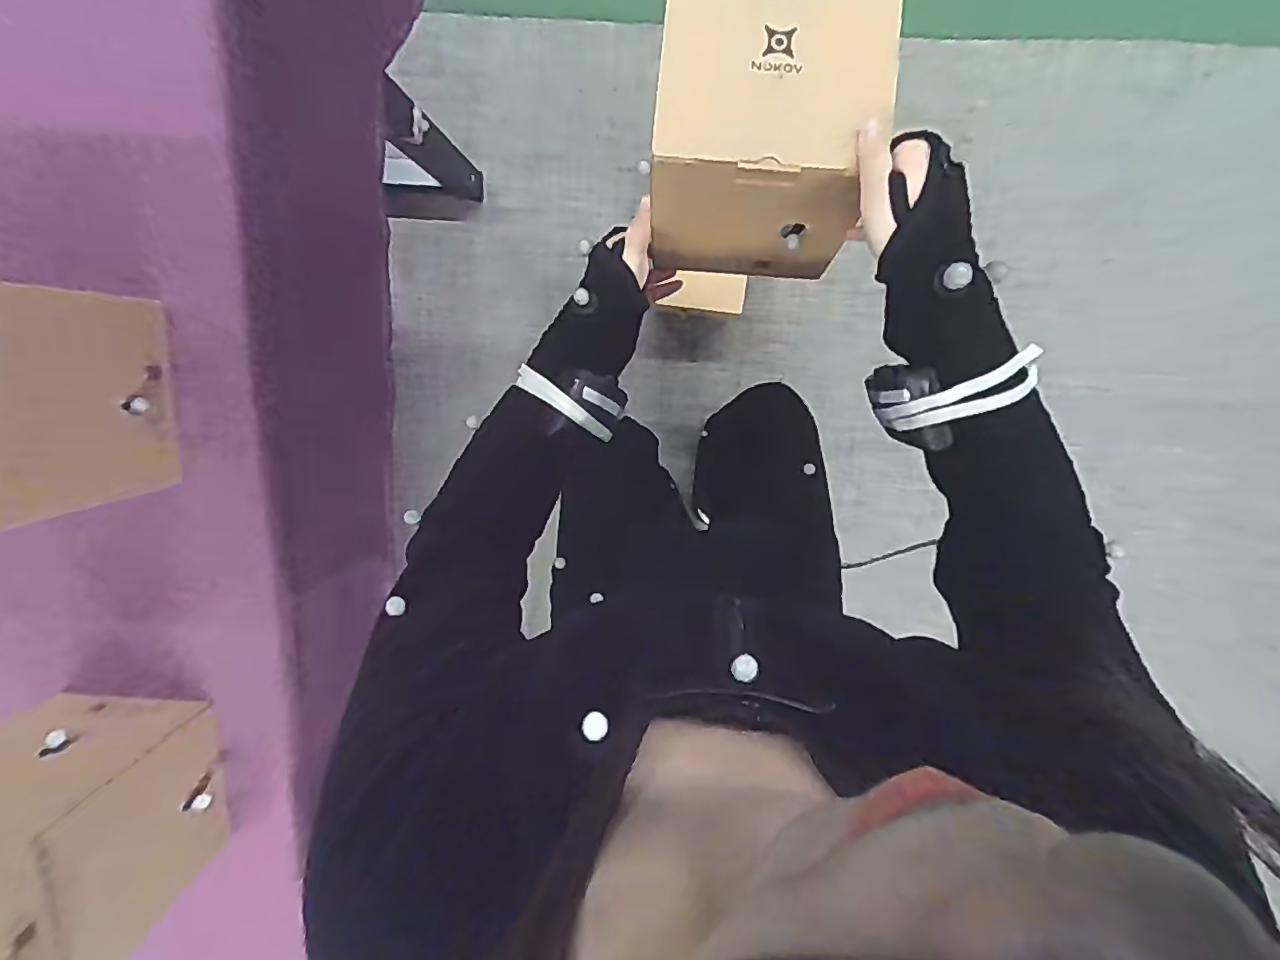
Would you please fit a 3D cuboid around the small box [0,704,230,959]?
[{"bbox_3d":[-0.526,0.331,0.500,0.168,0.176,0.179,2,102,1],"label":"small box"}]

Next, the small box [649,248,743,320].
[{"bbox_3d":[0.112,-0.420,1.066,0.168,0.176,0.179,8,101,-1],"label":"small box"}]

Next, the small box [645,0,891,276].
[{"bbox_3d":[0.097,-0.297,0.469,0.168,0.176,0.179,6,86,2],"label":"small box"}]
